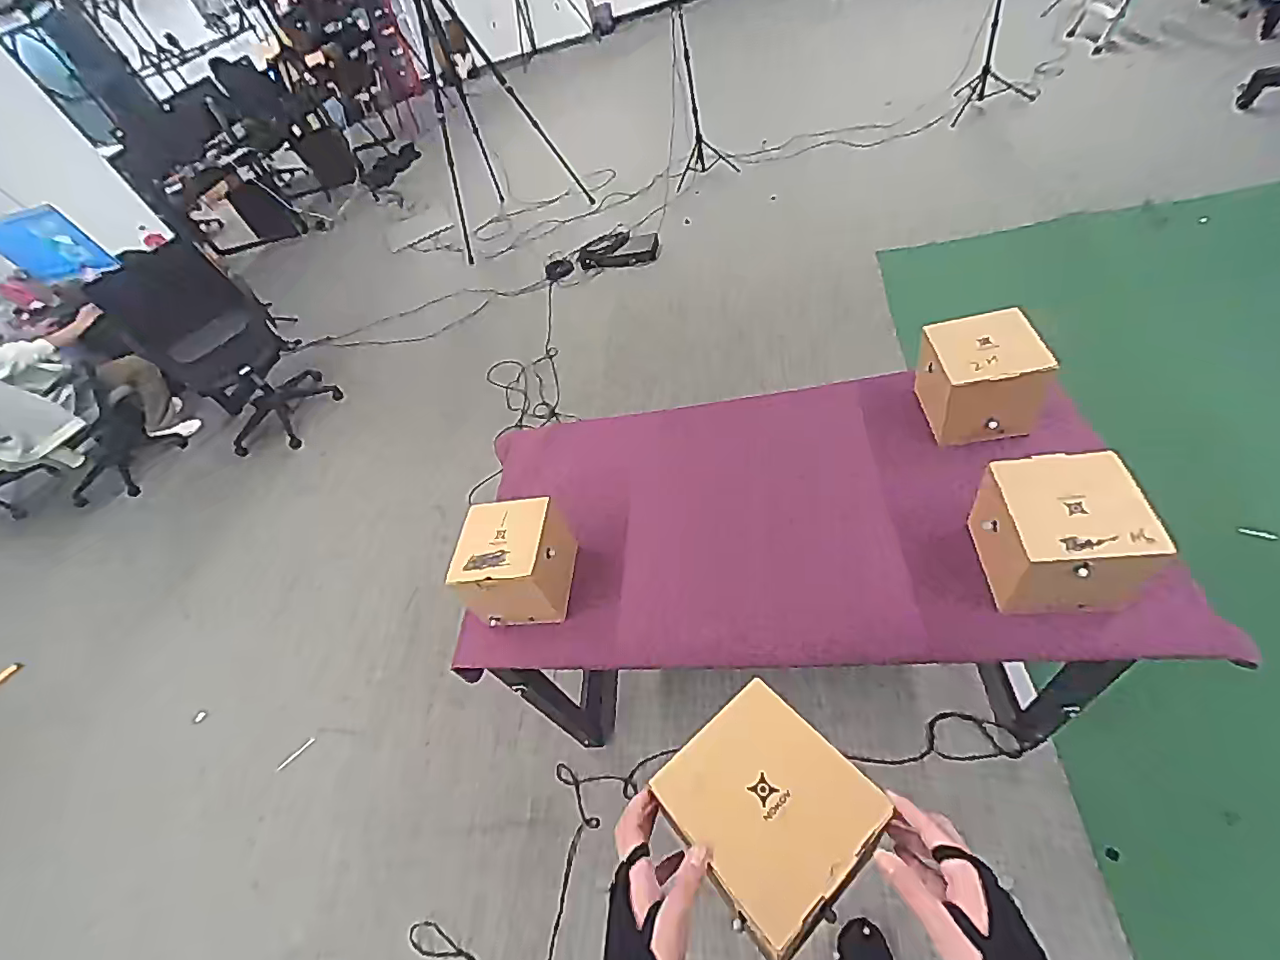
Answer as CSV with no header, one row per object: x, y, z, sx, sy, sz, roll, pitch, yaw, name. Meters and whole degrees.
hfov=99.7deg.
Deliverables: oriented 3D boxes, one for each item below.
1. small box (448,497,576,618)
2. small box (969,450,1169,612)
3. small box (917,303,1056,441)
-0.235,0.157,1.044,0.168,0.176,0.179,-6,49,14,small box
0.615,0.080,0.808,0.168,0.176,0.179,-7,51,16,small box
0.639,-0.200,1.026,0.168,0.176,0.179,-10,51,16,small box
